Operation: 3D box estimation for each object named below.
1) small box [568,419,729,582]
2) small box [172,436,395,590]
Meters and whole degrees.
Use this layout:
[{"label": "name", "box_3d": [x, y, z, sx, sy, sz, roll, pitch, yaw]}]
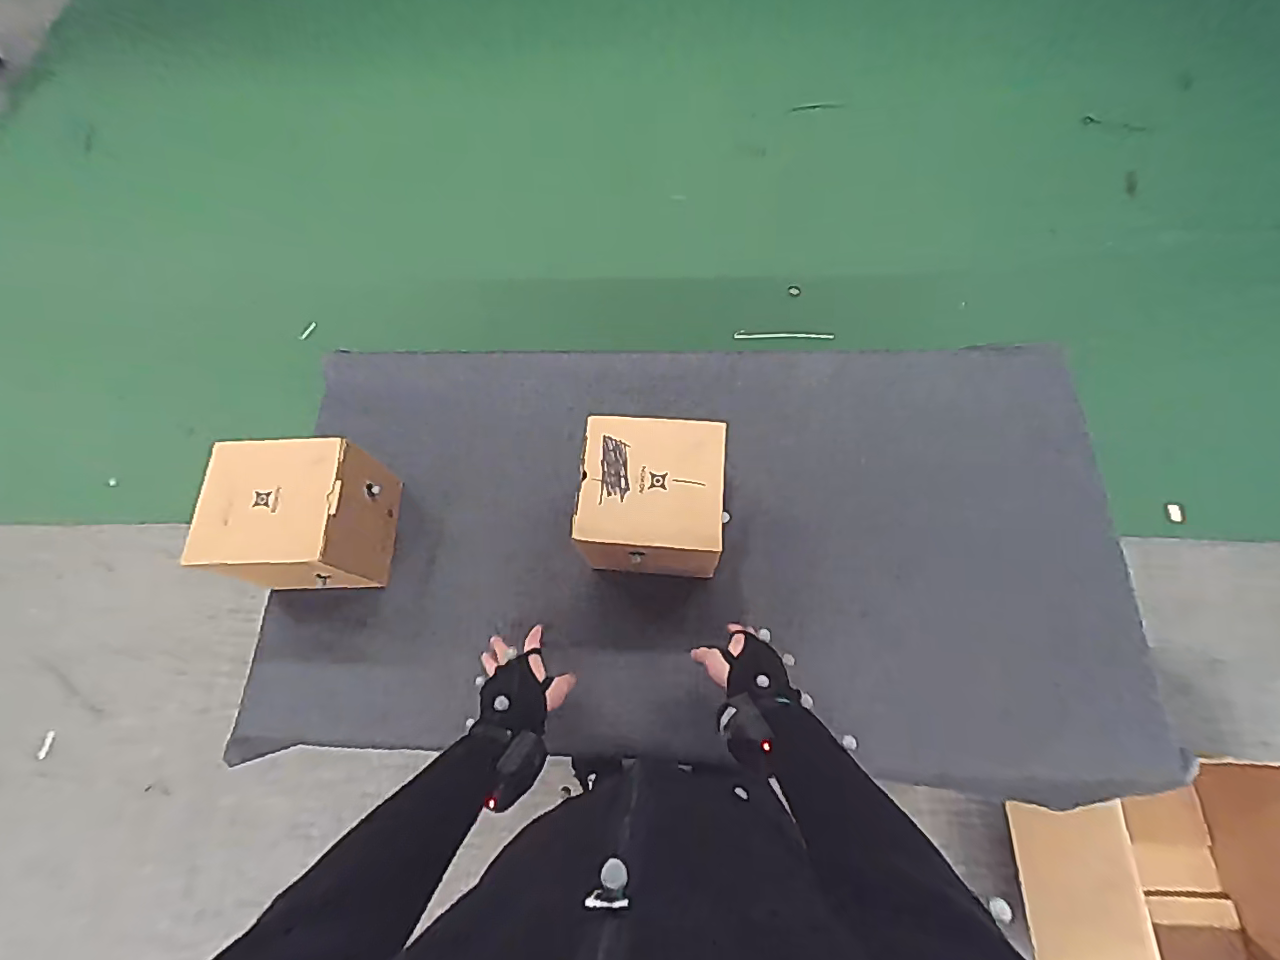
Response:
[{"label": "small box", "box_3d": [0.018, 0.035, 0.723, 0.179, 0.176, 0.168, 7, 71, 6]}, {"label": "small box", "box_3d": [-0.460, 0.052, 0.733, 0.179, 0.176, 0.168, -3, 68, 4]}]
